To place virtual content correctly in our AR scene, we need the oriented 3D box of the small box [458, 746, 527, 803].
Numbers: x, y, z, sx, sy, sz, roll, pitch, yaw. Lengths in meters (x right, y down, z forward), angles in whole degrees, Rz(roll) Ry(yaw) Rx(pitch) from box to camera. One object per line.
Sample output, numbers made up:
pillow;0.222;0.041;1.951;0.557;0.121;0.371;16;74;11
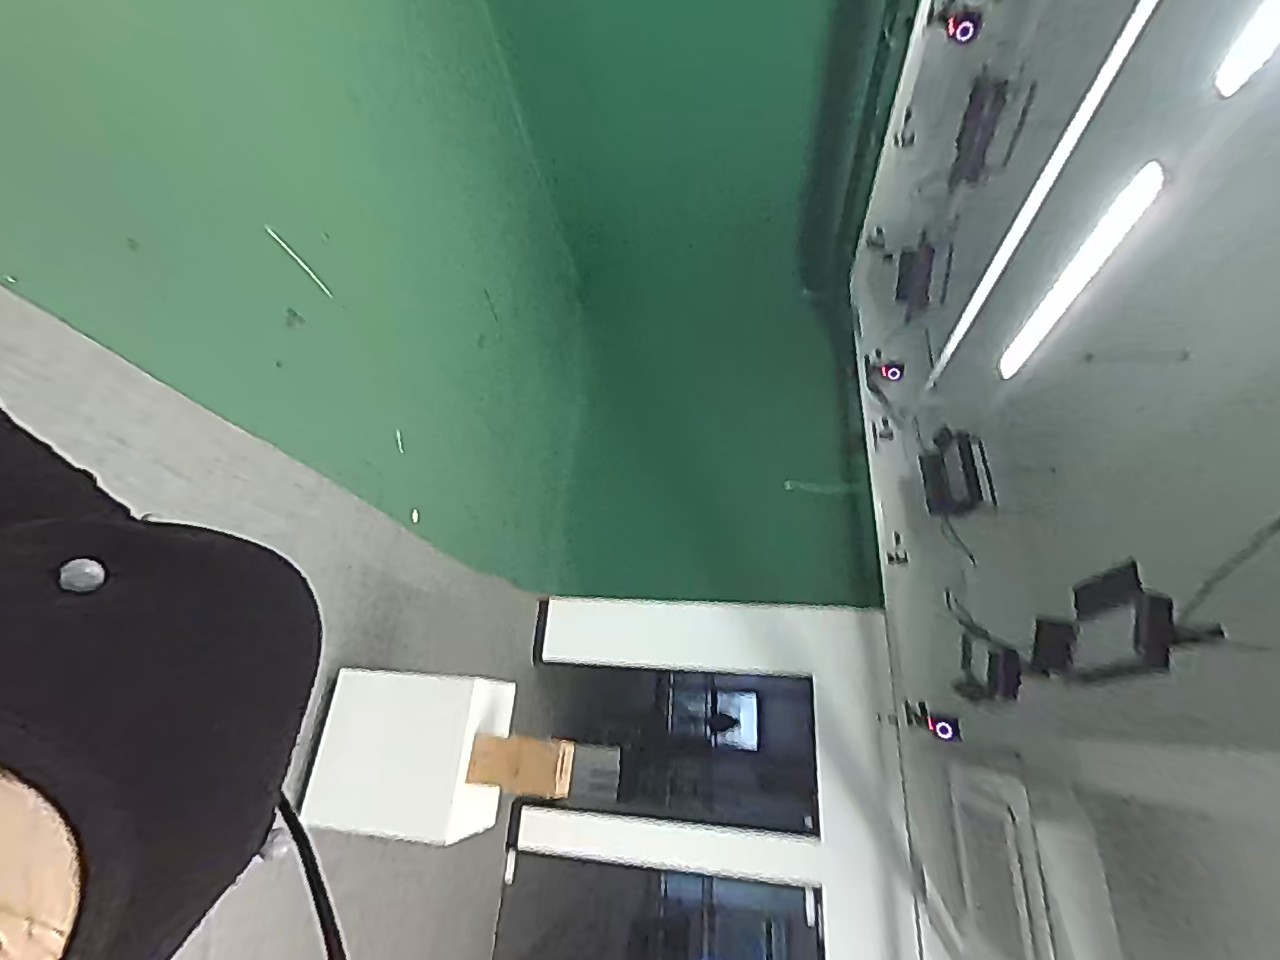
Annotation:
small box;-0.525;1.053;1.937;0.179;0.176;0.168;74;18;-62
